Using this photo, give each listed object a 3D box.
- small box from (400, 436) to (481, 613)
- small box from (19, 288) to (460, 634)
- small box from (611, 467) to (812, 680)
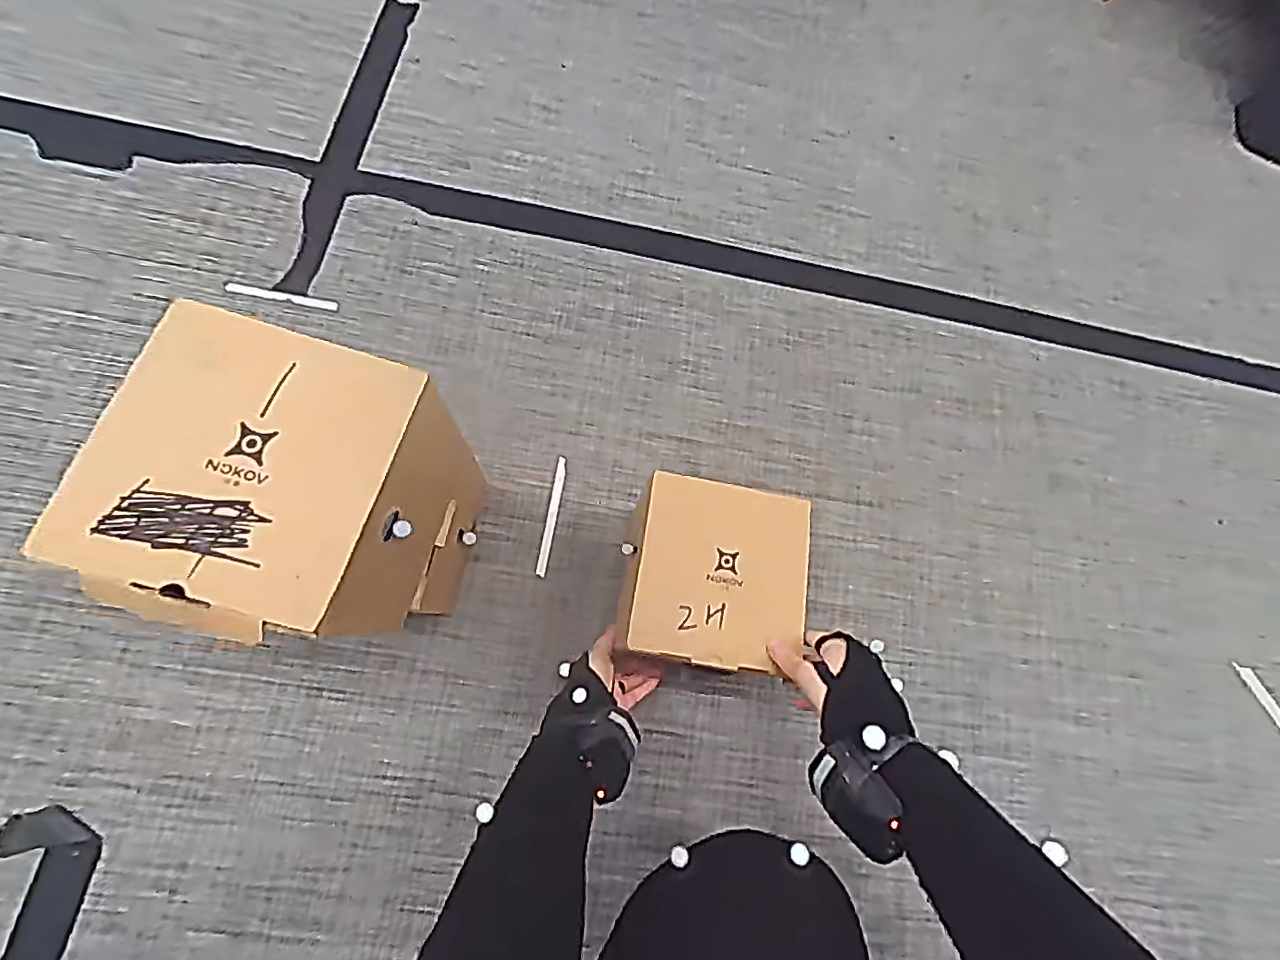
[{"bbox_3d":[-0.274,0.036,0.555,0.179,0.176,0.168,13,74,-6],"label":"small box"},{"bbox_3d":[-0.247,0.002,0.395,0.168,0.176,0.179,17,73,-4],"label":"small box"},{"bbox_3d":[0.067,0.107,0.584,0.168,0.176,0.179,12,72,-5],"label":"small box"}]
